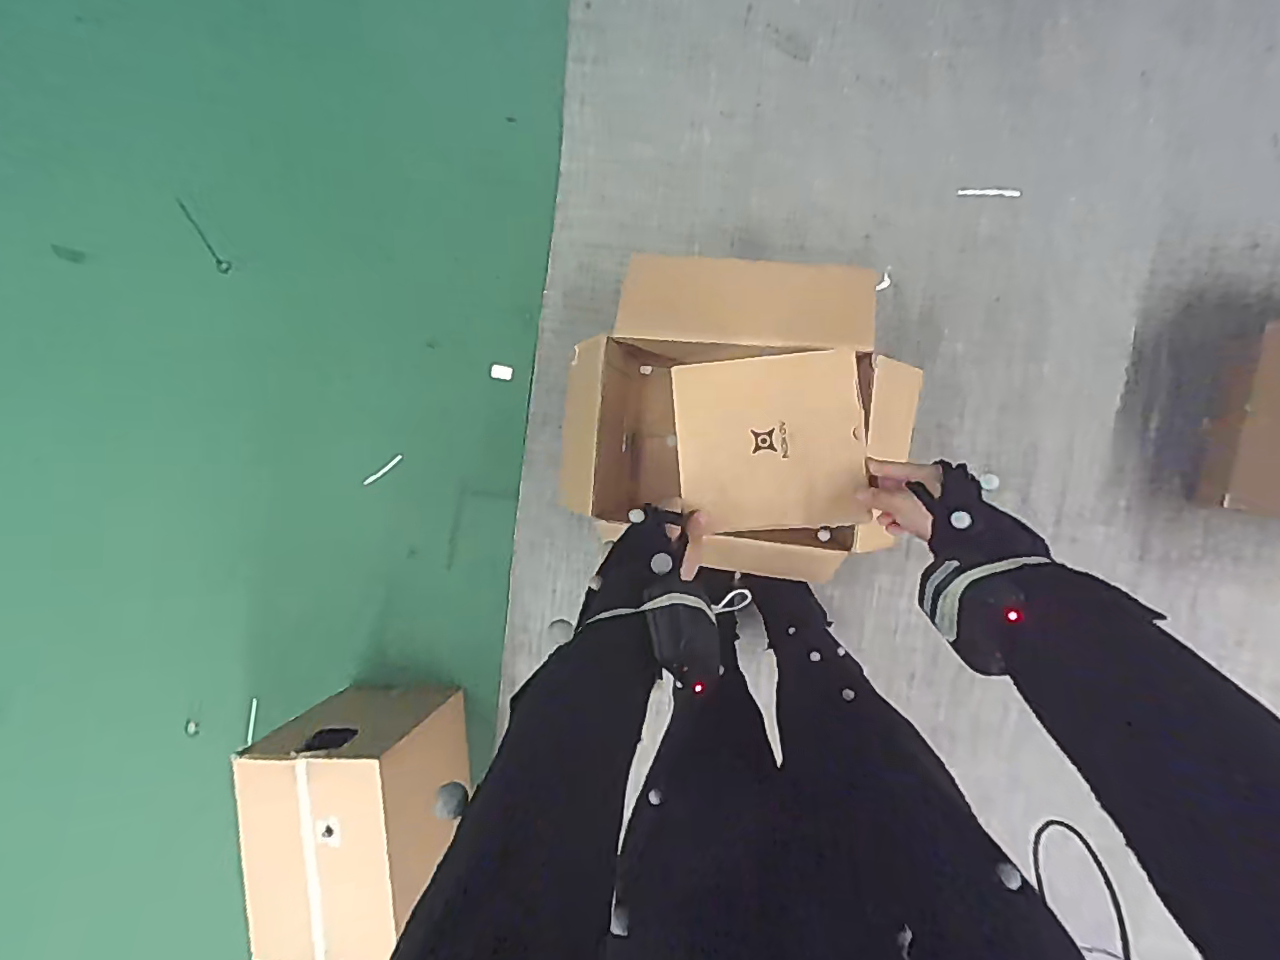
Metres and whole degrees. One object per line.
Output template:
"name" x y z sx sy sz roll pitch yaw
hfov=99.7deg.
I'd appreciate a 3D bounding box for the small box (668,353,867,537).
"small box" 0.127 -0.024 0.586 0.179 0.176 0.168 -4 84 7
